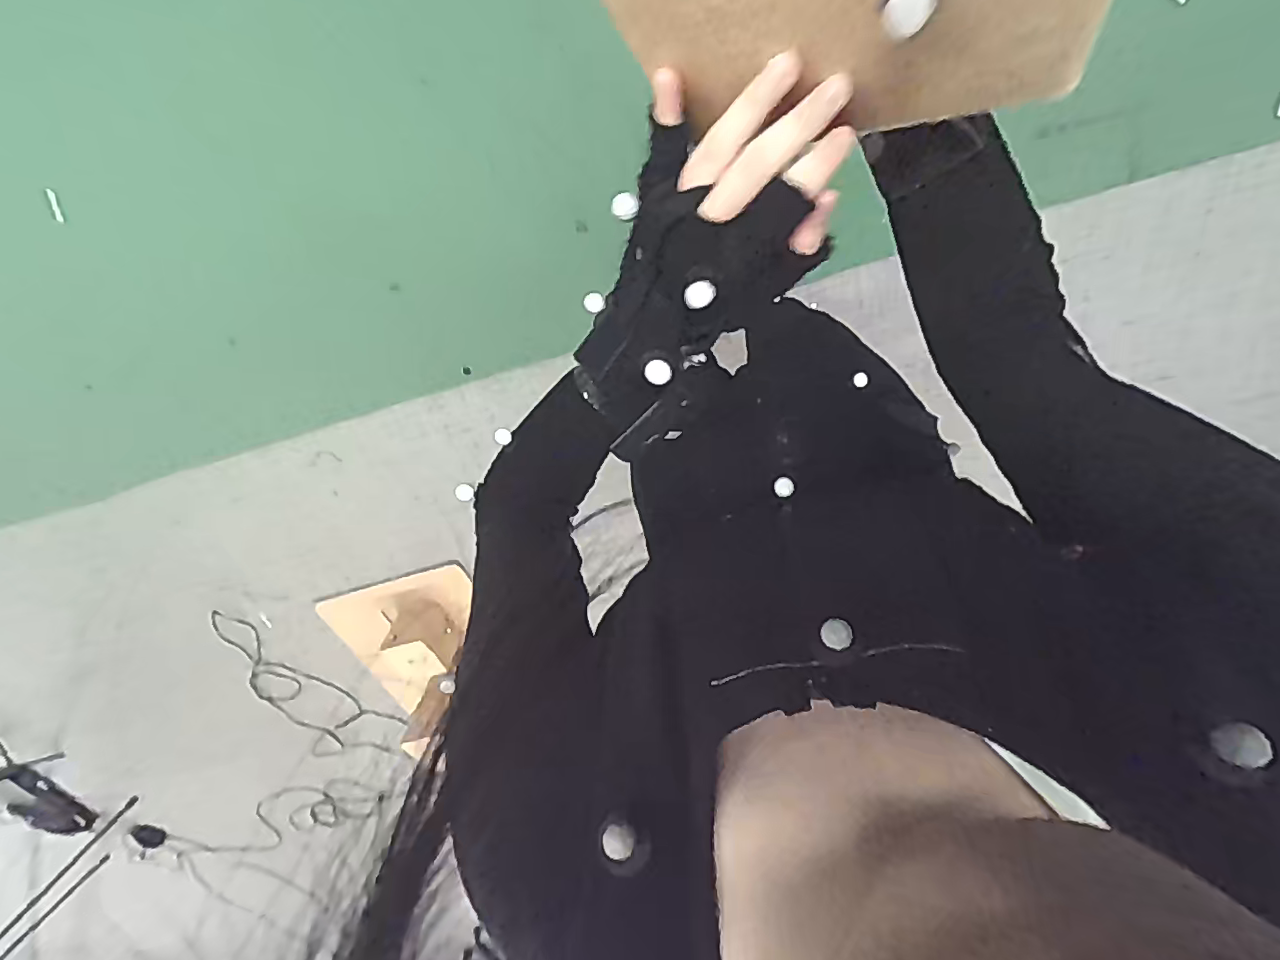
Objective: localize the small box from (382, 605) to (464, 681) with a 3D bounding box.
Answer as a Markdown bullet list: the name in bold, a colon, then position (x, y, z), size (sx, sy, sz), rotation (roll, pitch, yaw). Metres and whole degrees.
- **small box**: position (-0.742, 0.559, 1.867), size (0.179, 0.176, 0.168), rotation (-17, 120, 12)

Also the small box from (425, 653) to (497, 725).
- **small box**: position (-0.644, 0.761, 1.980), size (0.179, 0.176, 0.168), rotation (-20, 118, 15)
